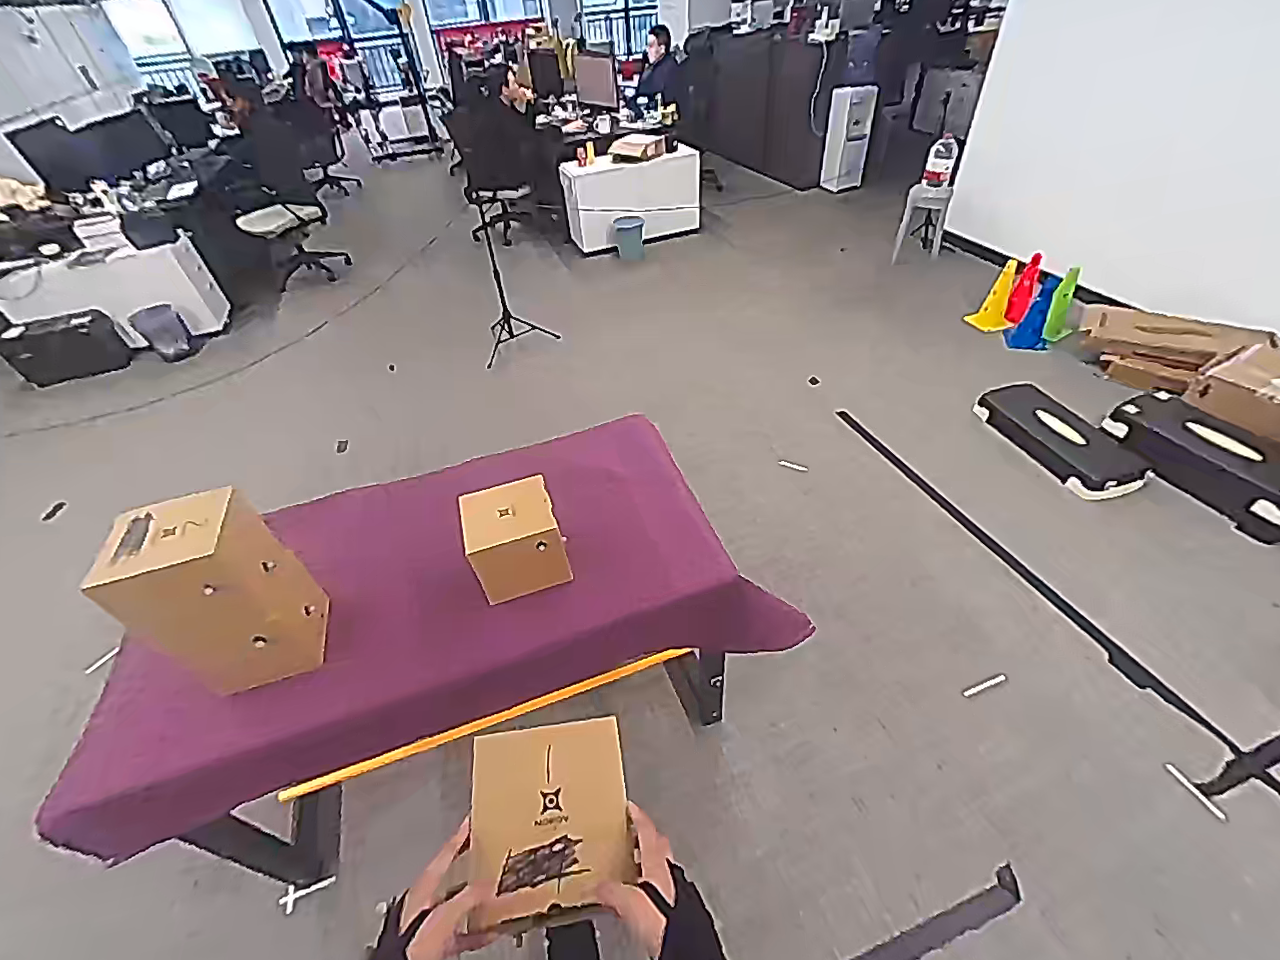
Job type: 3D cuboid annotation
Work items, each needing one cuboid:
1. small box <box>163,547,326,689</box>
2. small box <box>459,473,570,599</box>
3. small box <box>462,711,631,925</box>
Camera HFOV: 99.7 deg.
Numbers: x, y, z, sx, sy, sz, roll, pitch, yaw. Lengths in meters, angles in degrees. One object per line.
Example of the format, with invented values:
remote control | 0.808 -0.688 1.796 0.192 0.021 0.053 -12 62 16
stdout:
small box | -0.712 0.256 1.002 0.179 0.176 0.168 -15 44 -10
small box | -0.256 0.118 1.107 0.179 0.176 0.168 -15 44 -11
small box | -0.104 0.395 0.630 0.168 0.176 0.179 -4 48 -9
